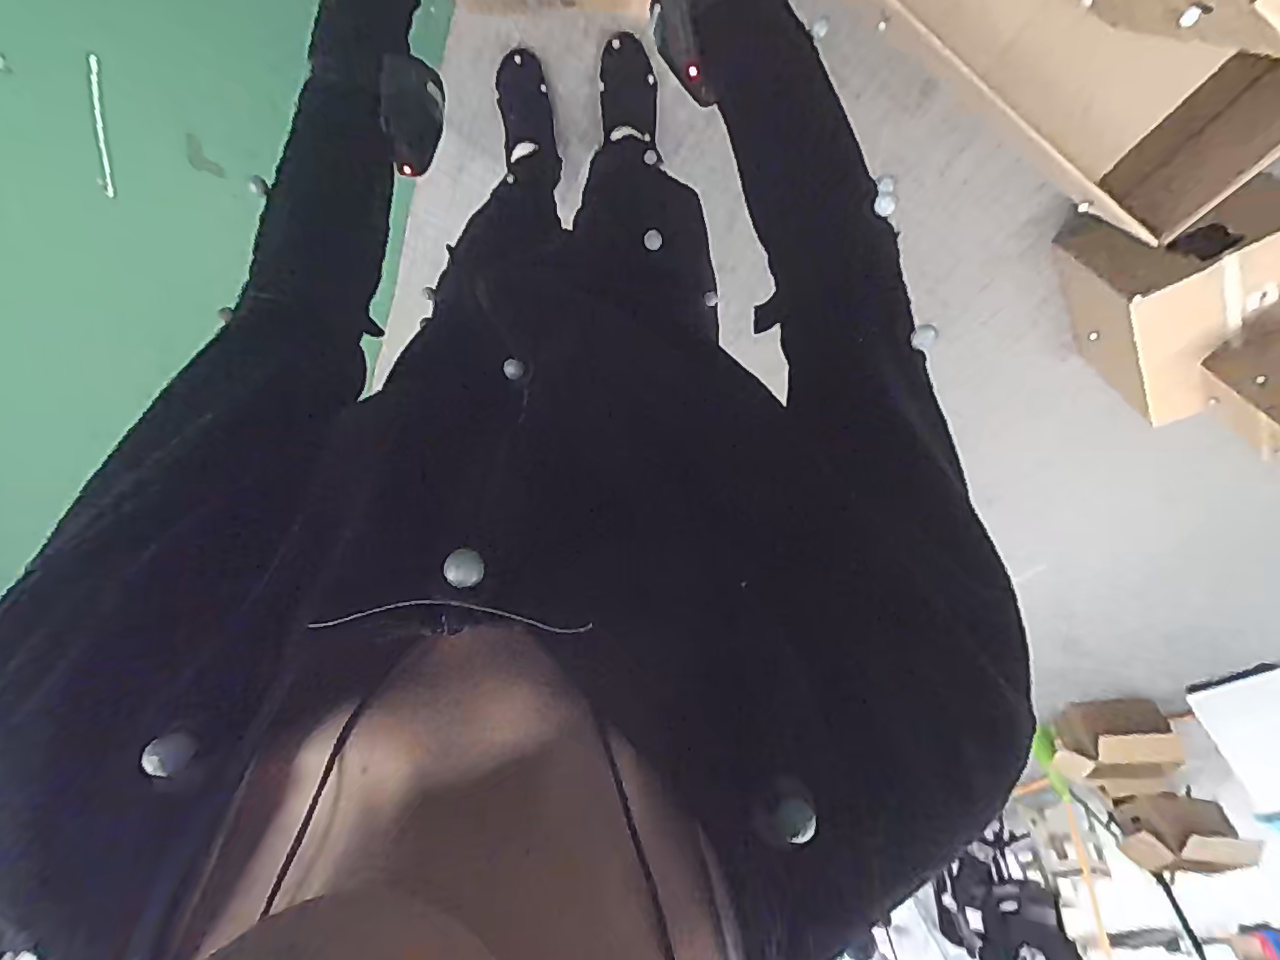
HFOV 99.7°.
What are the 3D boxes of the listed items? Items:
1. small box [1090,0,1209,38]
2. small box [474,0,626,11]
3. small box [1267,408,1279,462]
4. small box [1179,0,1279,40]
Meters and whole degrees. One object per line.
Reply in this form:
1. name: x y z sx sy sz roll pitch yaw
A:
1. small box: 0.577 -0.614 0.559 0.168 0.176 0.179 23 133 -17
2. small box: -0.090 -0.525 0.431 0.168 0.176 0.179 -2 105 0
3. small box: 1.304 -0.071 0.967 0.179 0.176 0.168 -31 125 30
4. small box: 0.564 -0.499 0.443 0.168 0.176 0.179 21 133 -16
